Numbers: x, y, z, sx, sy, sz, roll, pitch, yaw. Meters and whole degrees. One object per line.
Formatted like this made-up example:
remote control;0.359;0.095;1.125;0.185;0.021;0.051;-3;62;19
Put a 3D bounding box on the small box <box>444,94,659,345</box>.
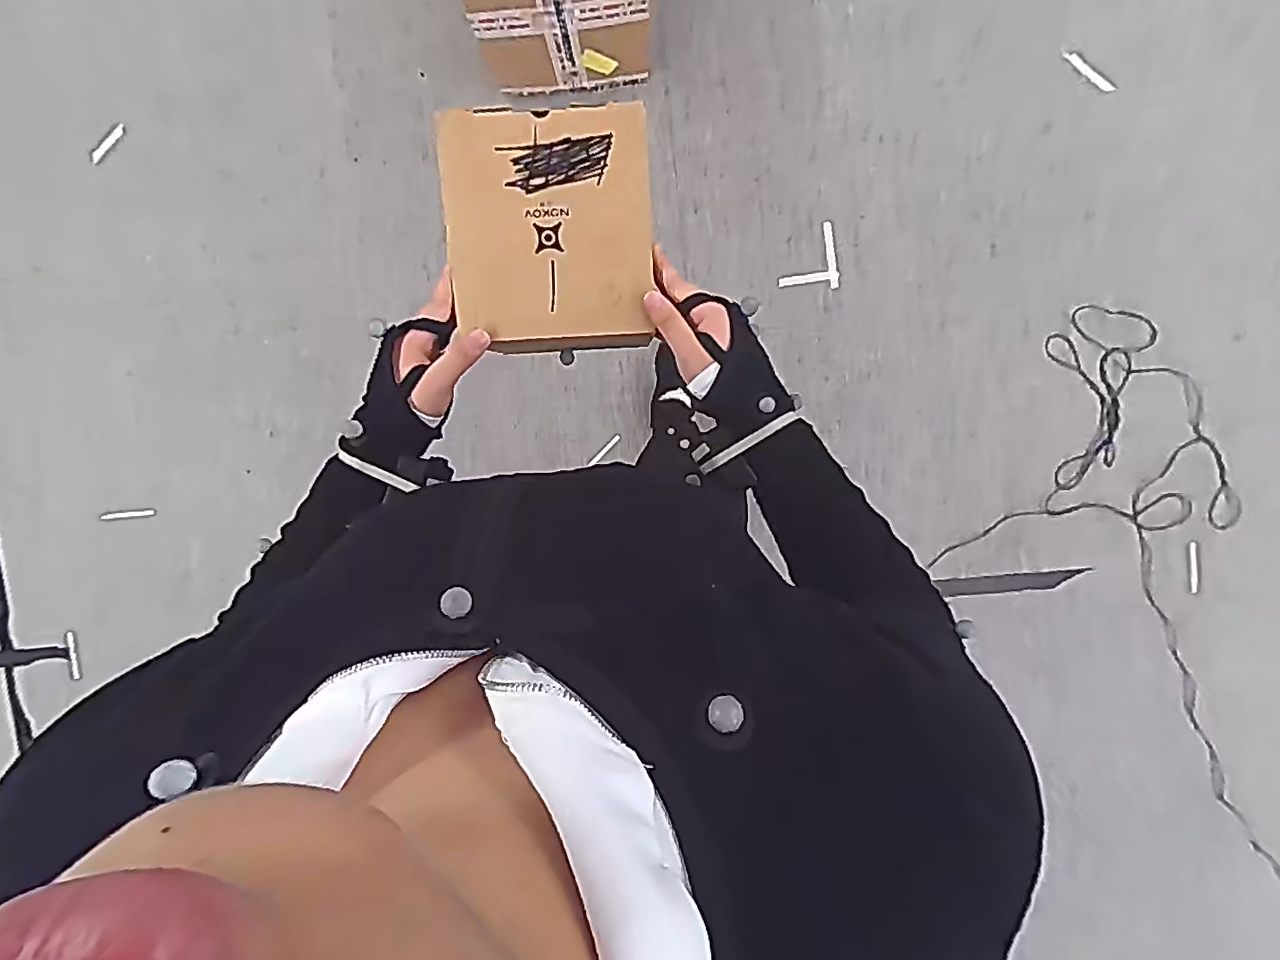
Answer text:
small box;-0.071;-0.226;0.513;0.168;0.176;0.179;-3;100;-1
